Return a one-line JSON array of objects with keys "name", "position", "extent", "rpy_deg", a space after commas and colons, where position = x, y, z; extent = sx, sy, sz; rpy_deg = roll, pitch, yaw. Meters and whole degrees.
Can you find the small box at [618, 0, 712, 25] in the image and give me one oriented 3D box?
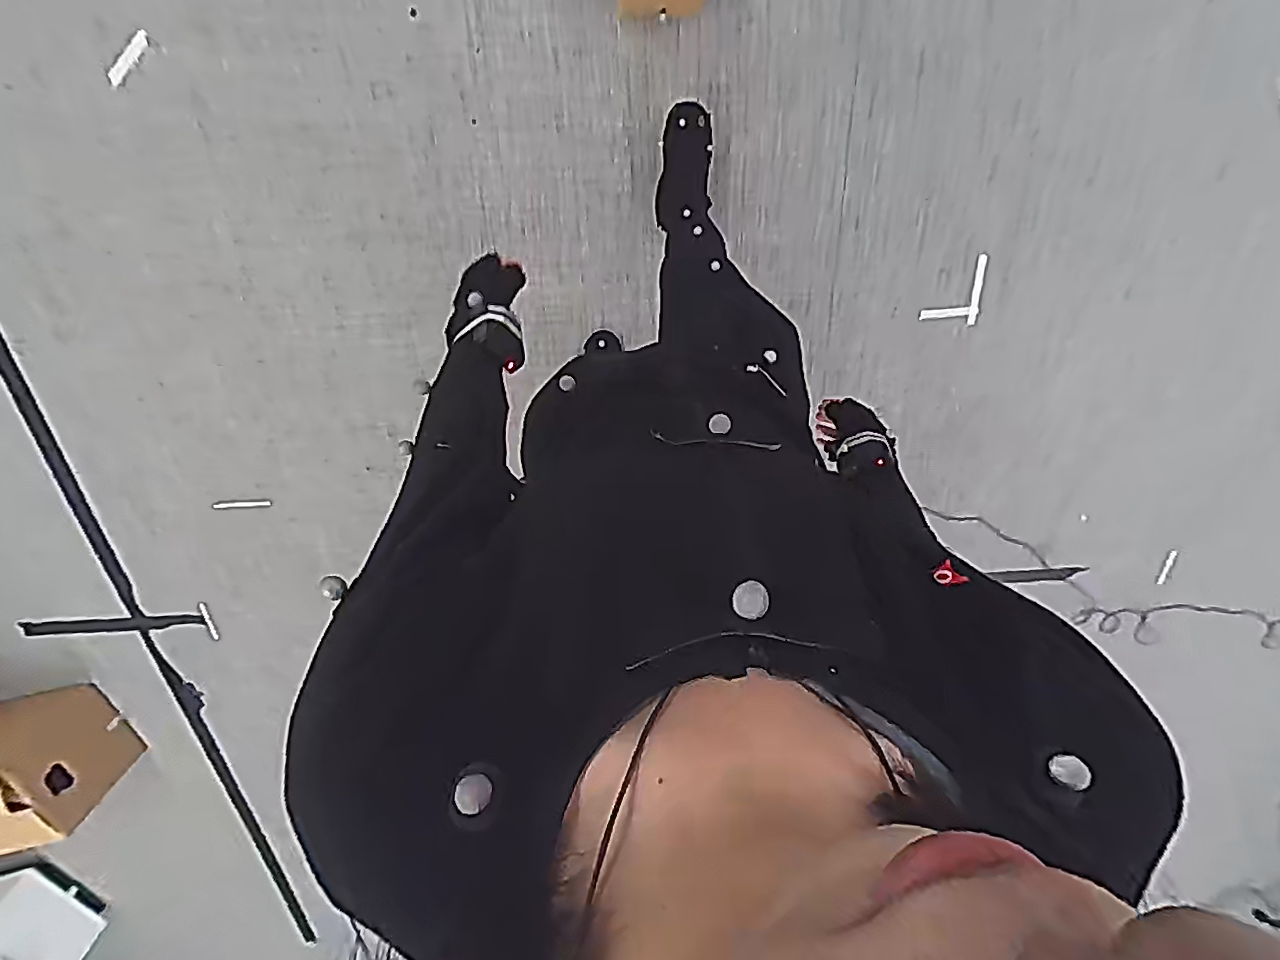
[{"name": "small box", "position": [0.046, -1.001, 1.034], "extent": [0.179, 0.176, 0.168], "rpy_deg": [-4, 115, -3]}]
